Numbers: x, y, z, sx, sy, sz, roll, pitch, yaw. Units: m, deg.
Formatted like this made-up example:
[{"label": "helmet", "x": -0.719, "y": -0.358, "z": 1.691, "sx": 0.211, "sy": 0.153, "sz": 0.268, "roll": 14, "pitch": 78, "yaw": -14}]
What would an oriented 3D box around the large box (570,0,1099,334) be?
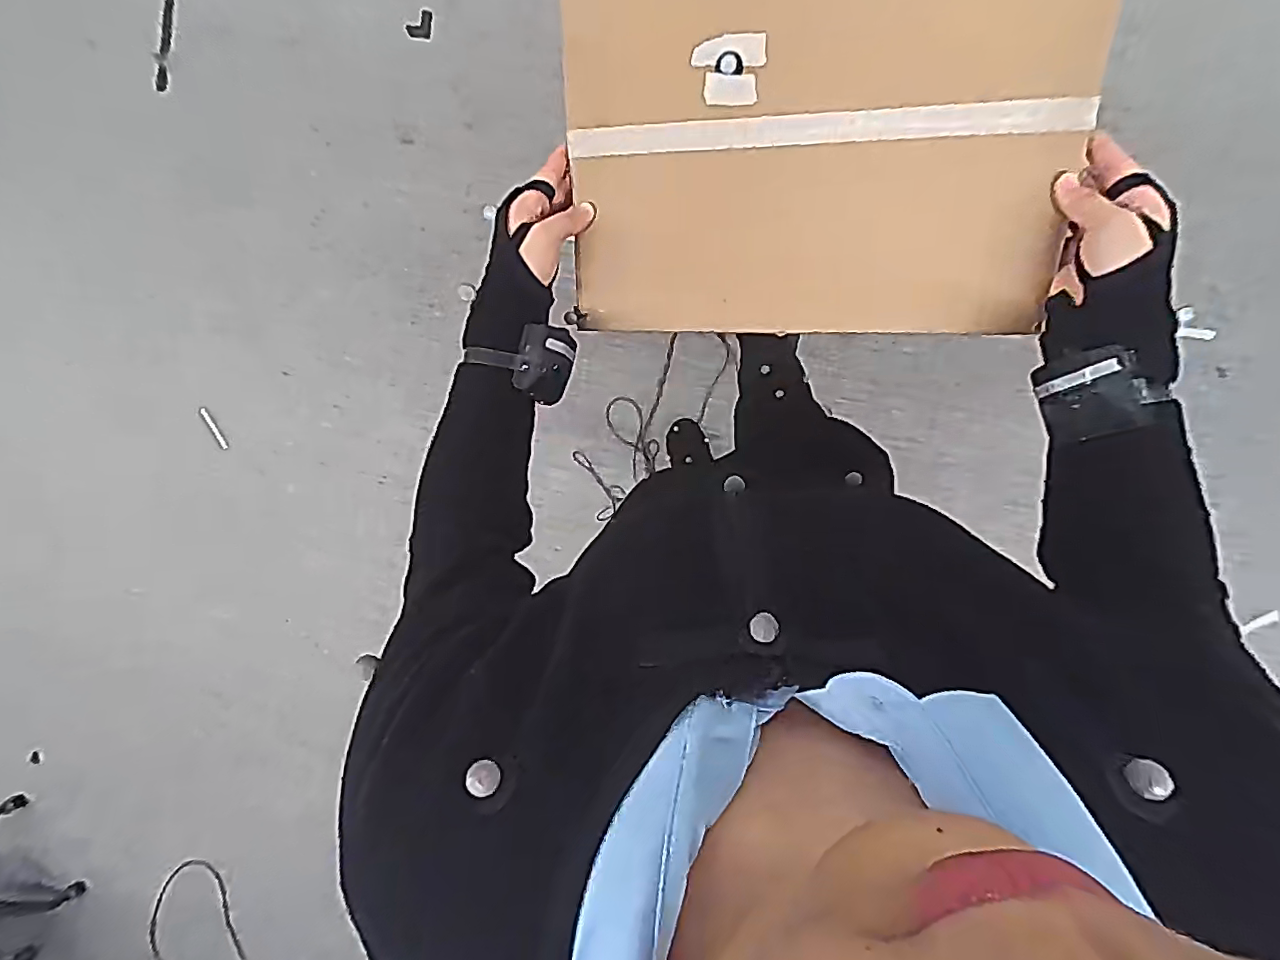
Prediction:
[{"label": "large box", "x": 0.168, "y": -0.334, "z": 0.590, "sx": 0.408, "sy": 0.320, "sz": 0.320, "roll": 3, "pitch": 109, "yaw": 10}]
